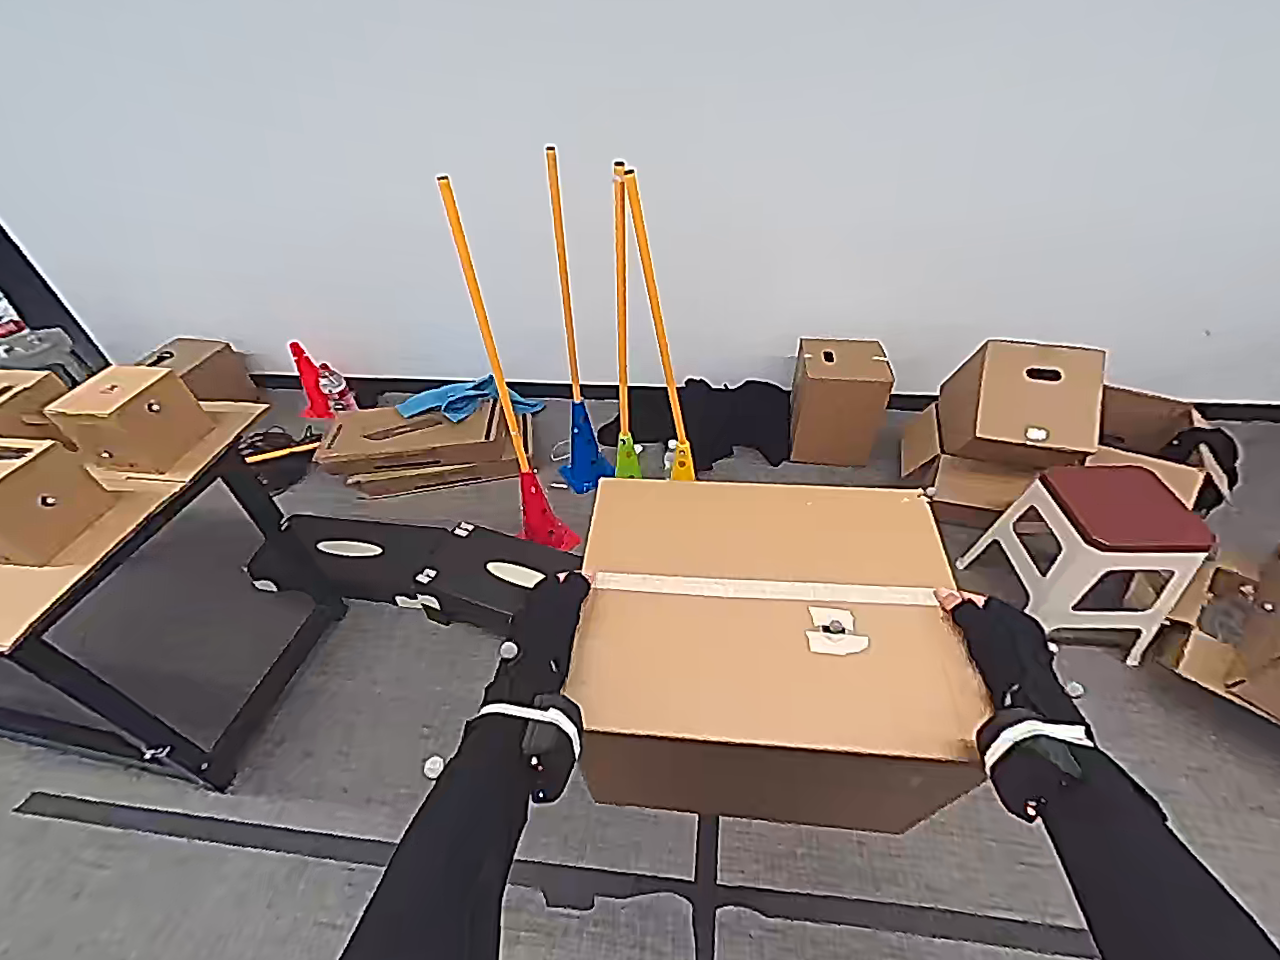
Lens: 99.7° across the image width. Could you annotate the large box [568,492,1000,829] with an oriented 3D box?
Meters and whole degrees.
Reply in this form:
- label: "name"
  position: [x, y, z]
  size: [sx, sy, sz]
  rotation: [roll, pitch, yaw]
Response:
- label: "large box"
  position: [0.143, 0.234, 0.706]
  size: [0.408, 0.320, 0.320]
  rotation: [2, 48, 5]
